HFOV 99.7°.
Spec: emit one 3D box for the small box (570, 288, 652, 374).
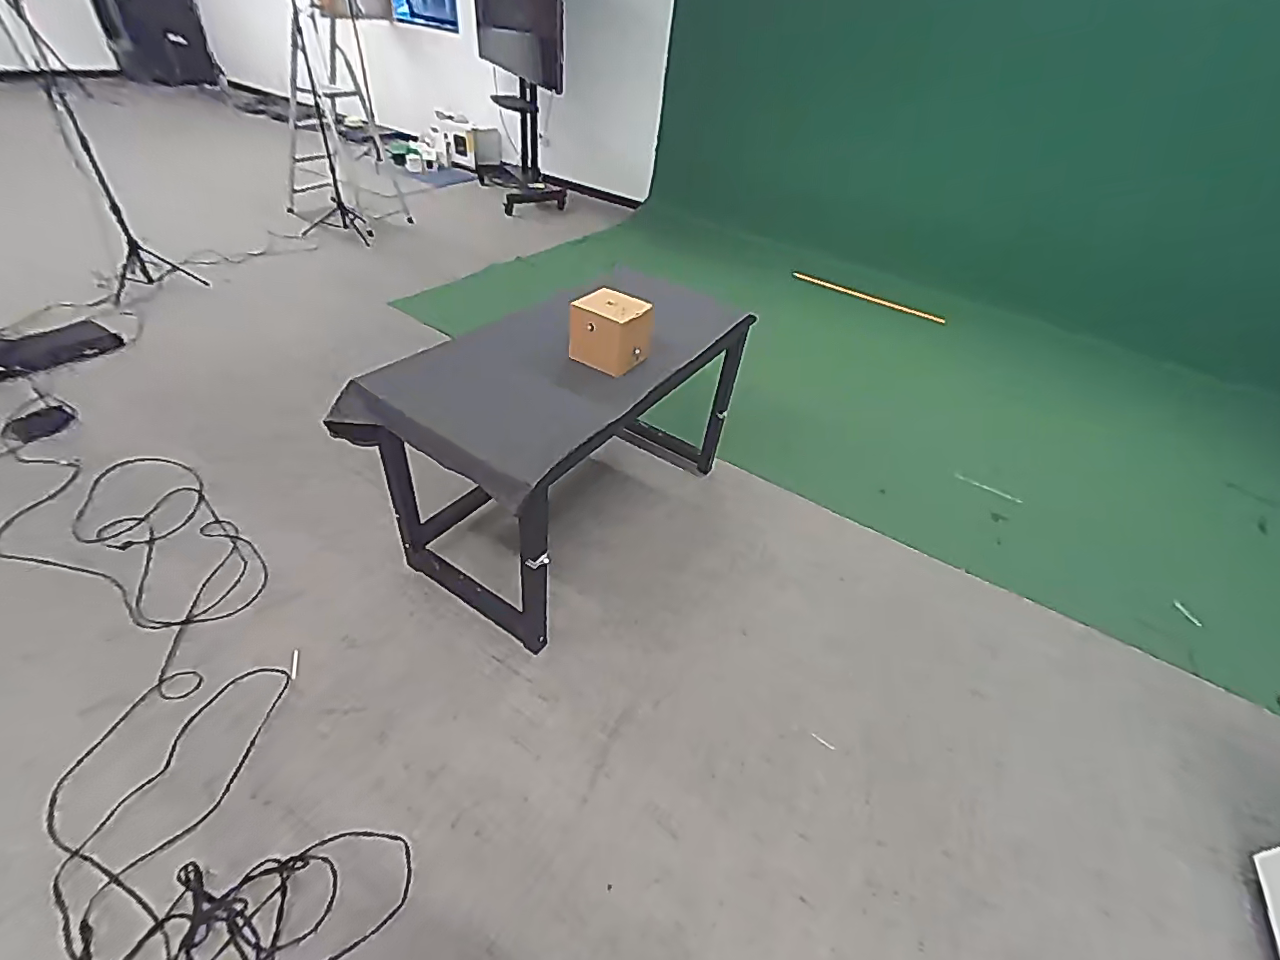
[{"bbox_3d":[-0.088,-0.427,1.553,0.179,0.176,0.168,26,44,20],"label":"small box"}]
